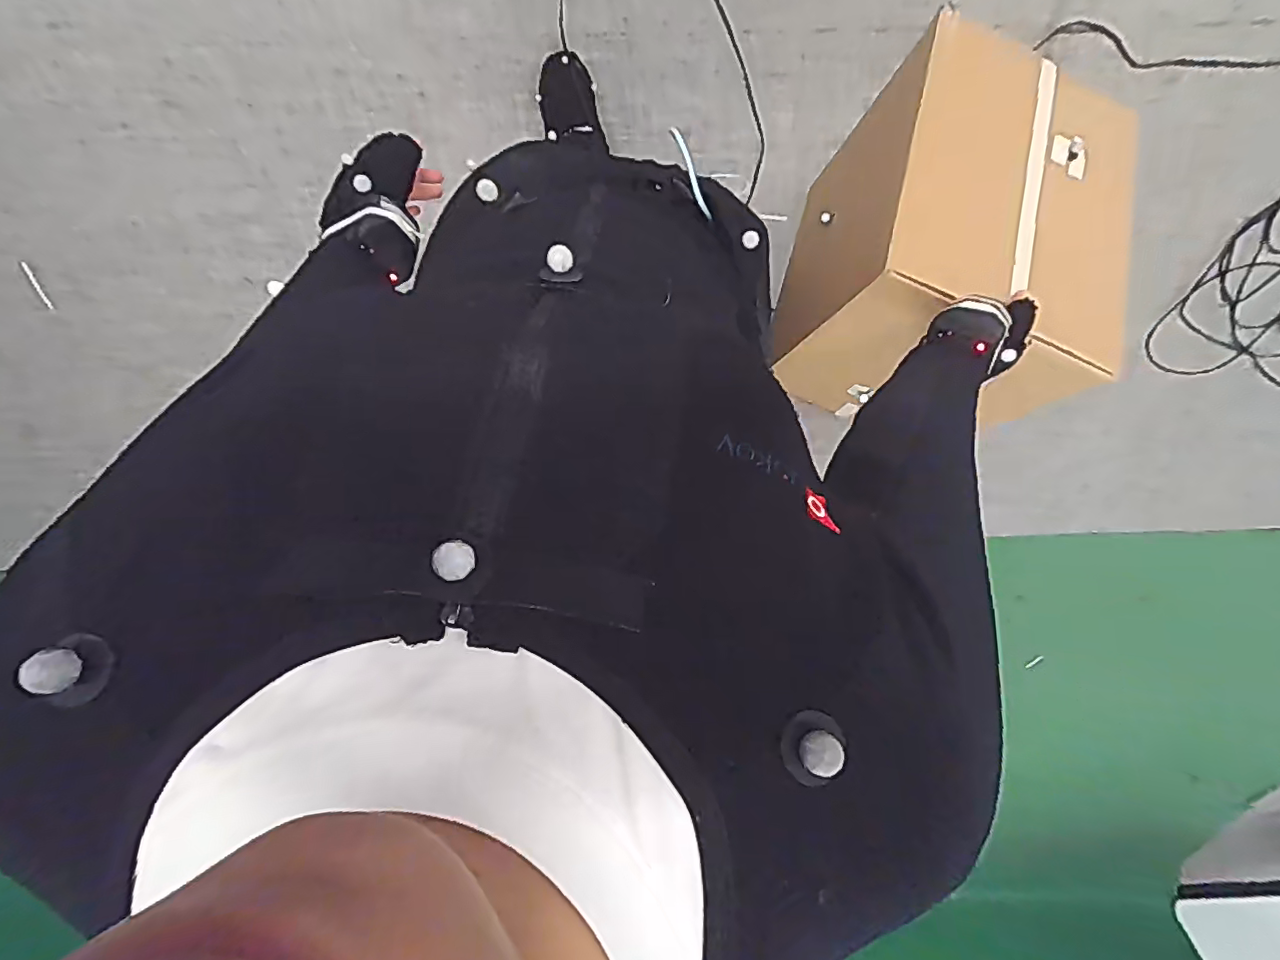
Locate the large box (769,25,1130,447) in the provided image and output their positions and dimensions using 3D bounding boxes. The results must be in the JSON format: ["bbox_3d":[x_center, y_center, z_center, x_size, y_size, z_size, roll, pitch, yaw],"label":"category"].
[{"bbox_3d":[0.426,-0.311,0.791,0.320,0.408,0.320,20,164,-9],"label":"large box"}]
